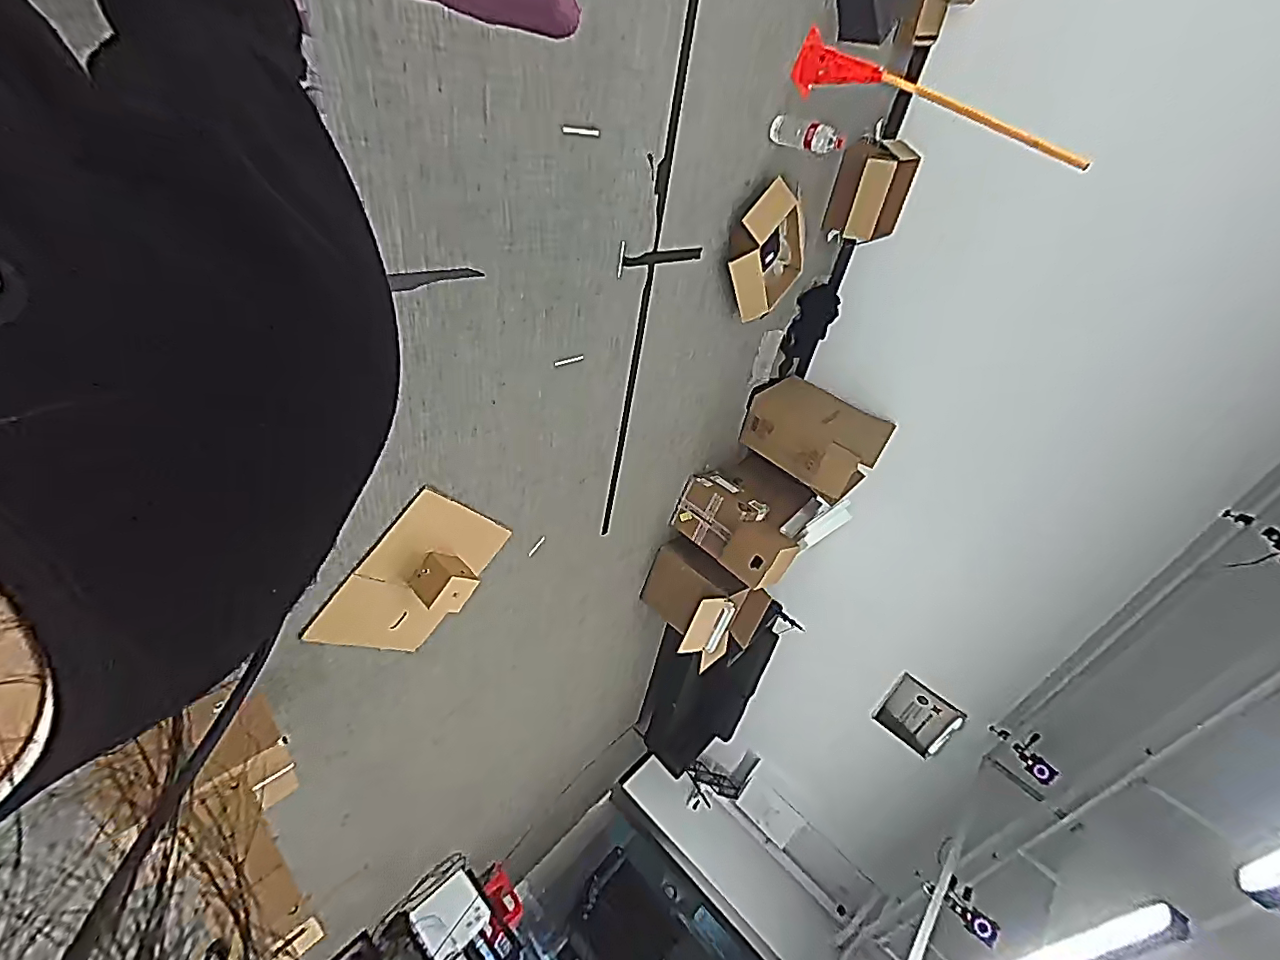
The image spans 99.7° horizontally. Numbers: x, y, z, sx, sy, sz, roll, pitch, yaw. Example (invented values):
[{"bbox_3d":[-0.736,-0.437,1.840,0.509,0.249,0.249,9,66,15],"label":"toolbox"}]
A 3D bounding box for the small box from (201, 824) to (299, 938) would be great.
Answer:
[{"bbox_3d":[-1.097,1.117,1.521,0.168,0.176,0.179,-25,138,-42],"label":"small box"}]

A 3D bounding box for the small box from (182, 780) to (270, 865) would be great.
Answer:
[{"bbox_3d":[-1.213,1.026,1.593,0.168,0.176,0.179,-22,138,-45],"label":"small box"}]

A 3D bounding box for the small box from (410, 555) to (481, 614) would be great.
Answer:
[{"bbox_3d":[-0.797,0.427,2.213,0.168,0.176,0.179,-55,151,1],"label":"small box"}]
